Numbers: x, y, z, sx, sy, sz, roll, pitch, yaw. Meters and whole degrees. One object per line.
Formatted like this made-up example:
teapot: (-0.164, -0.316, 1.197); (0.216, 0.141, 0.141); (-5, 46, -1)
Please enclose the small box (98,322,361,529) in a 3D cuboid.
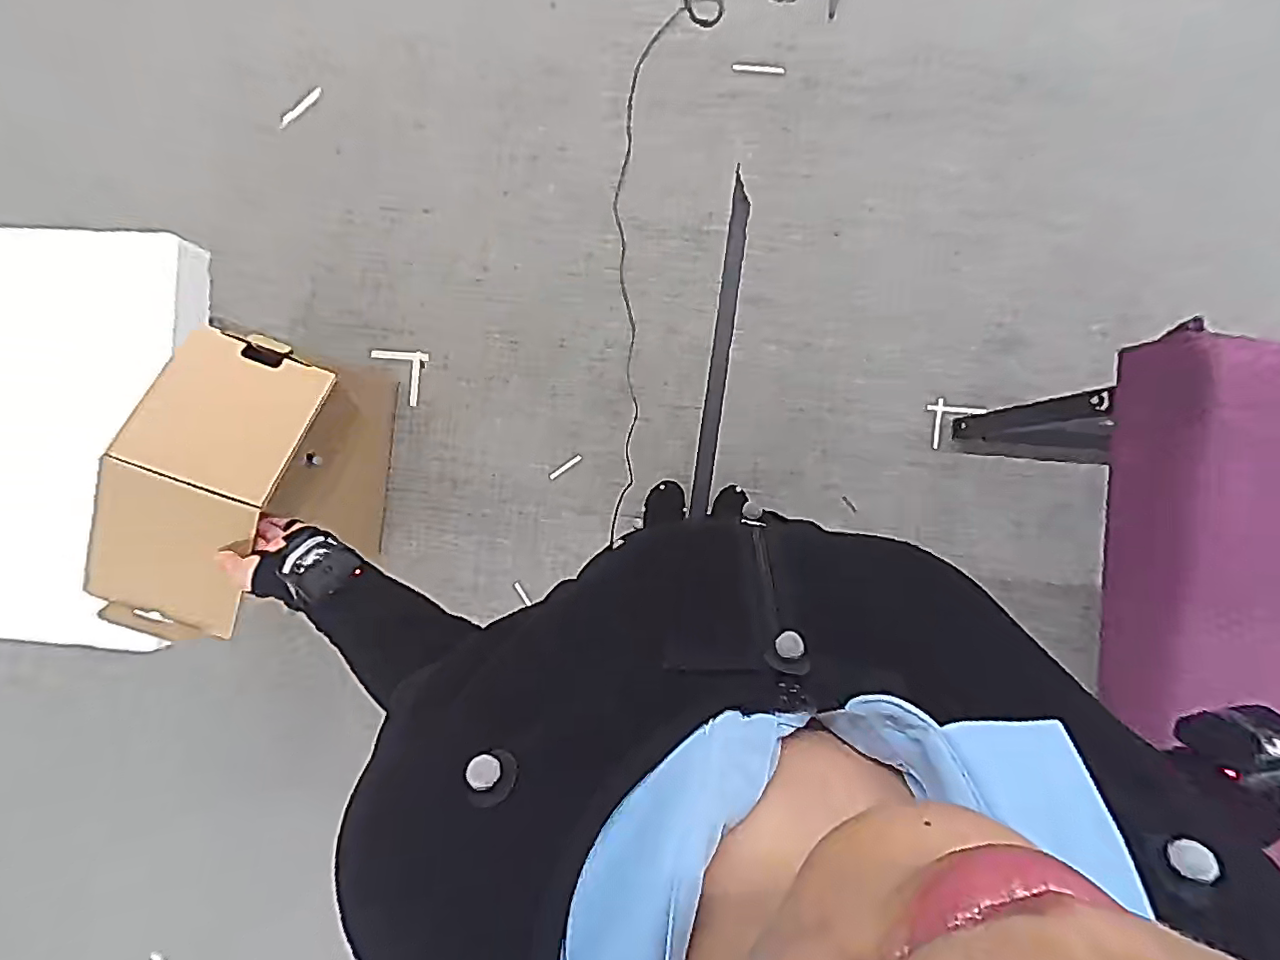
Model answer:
small box: (-0.472, -0.052, 0.662); (0.168, 0.176, 0.179); (21, 72, -8)
